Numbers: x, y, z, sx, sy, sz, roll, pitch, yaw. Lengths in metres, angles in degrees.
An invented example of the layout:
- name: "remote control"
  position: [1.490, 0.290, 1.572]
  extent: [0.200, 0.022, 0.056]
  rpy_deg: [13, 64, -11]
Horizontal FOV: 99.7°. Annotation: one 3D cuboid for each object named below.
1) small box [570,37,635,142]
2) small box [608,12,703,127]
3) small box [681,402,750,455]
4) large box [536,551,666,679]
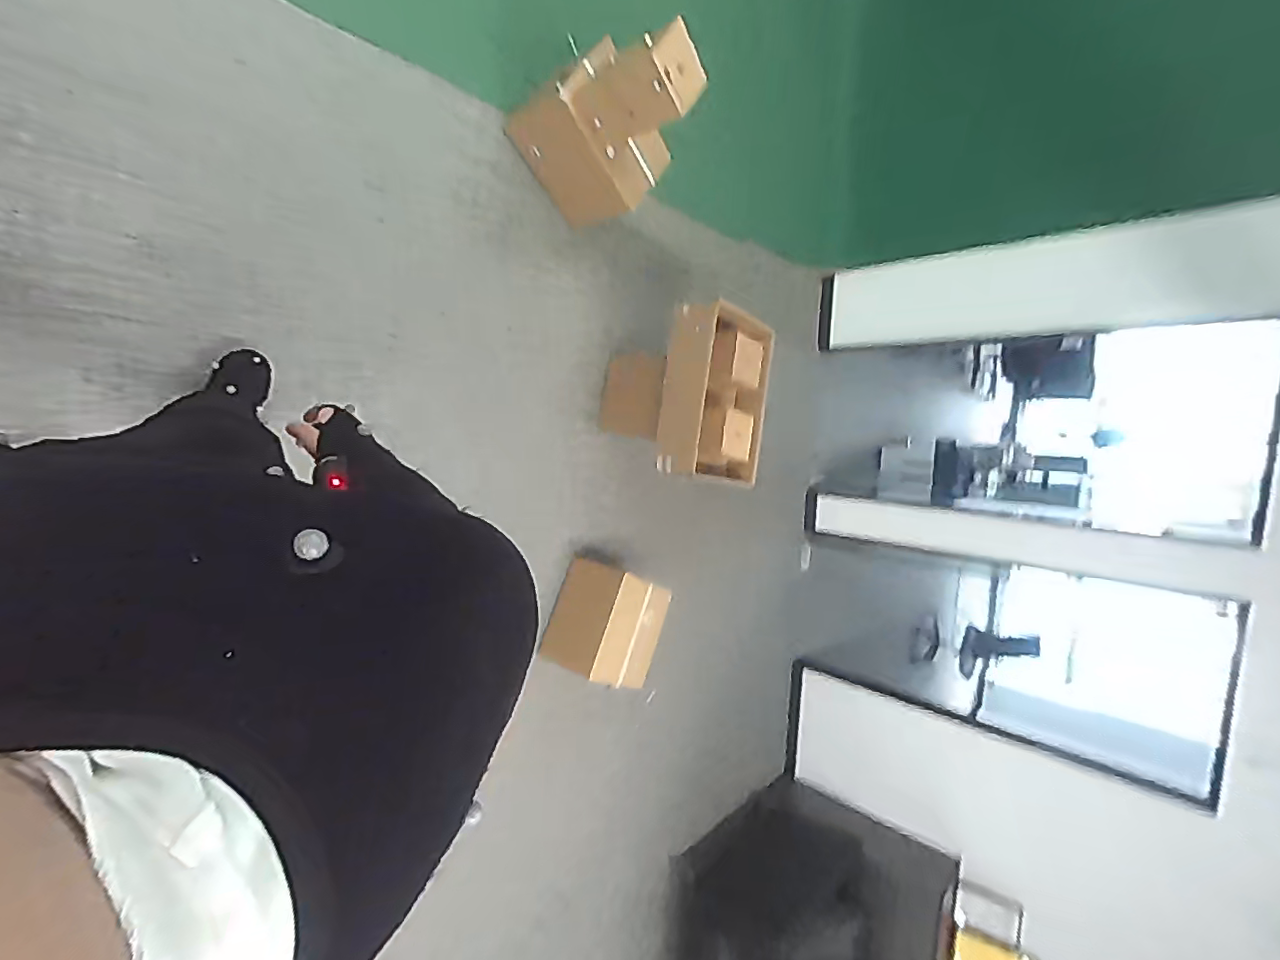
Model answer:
- name: "small box"
  position: [-0.075, -1.152, 1.603]
  extent: [0.168, 0.176, 0.179]
  rpy_deg: [46, 64, -41]
- name: "small box"
  position: [0.040, -1.124, 1.490]
  extent: [0.168, 0.176, 0.179]
  rpy_deg: [46, 64, -42]
- name: "small box"
  position: [0.276, -0.191, 1.989]
  extent: [0.179, 0.176, 0.168]
  rpy_deg: [9, 90, -46]
- name: "large box"
  position: [-0.155, 0.535, 2.157]
  extent: [0.320, 0.320, 0.408]
  rpy_deg: [31, 72, -46]
